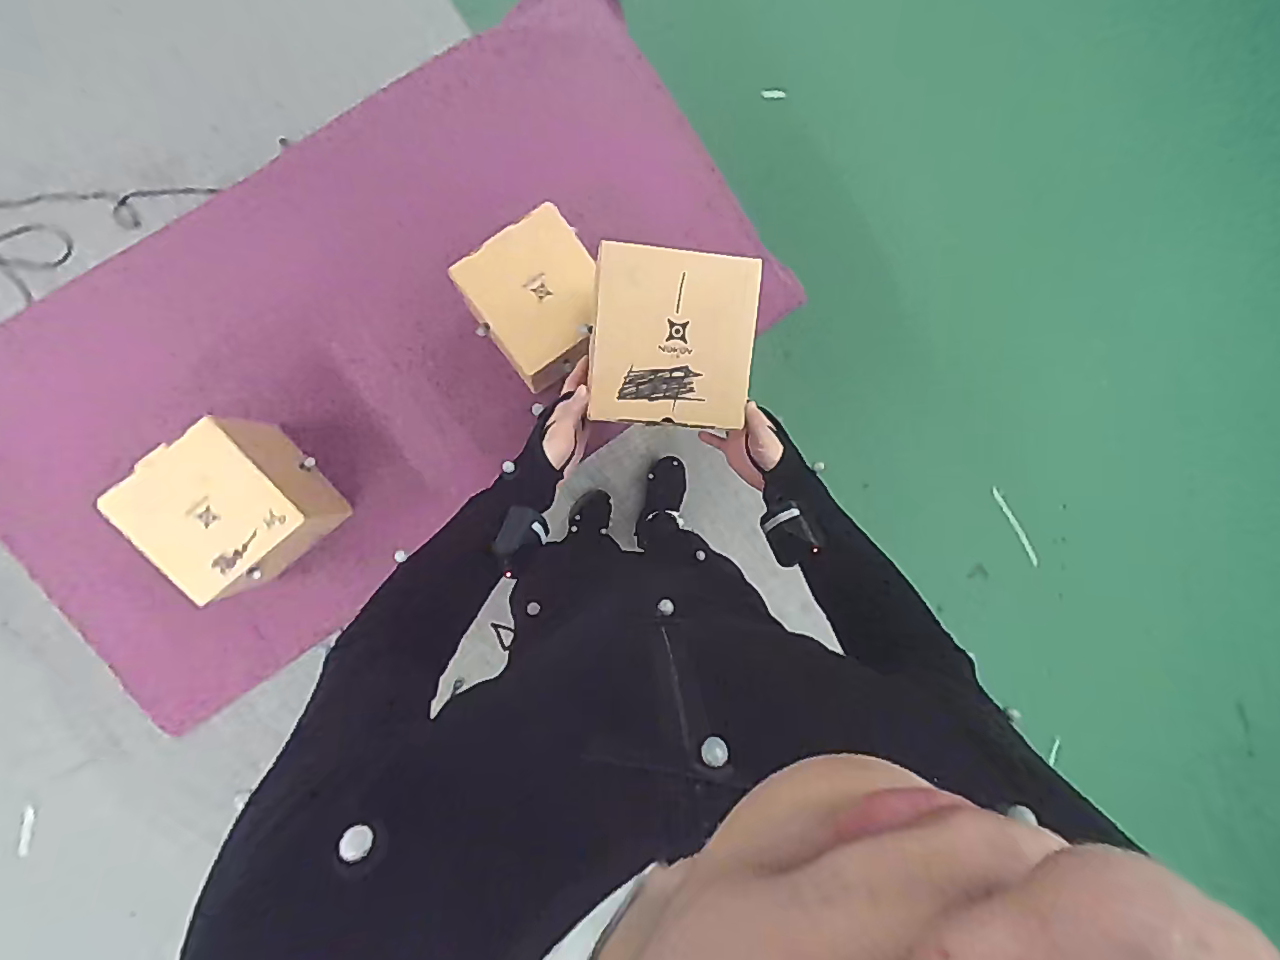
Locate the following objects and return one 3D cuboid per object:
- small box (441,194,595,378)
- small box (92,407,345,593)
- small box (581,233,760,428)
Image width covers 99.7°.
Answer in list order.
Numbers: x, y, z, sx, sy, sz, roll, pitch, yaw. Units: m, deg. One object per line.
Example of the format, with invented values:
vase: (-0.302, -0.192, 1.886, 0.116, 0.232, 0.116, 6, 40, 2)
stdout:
small box: (-0.154, -0.265, 0.793, 0.168, 0.176, 0.179, -37, 95, -5)
small box: (-0.556, 0.024, 0.744, 0.168, 0.176, 0.179, -41, 97, -4)
small box: (0.023, -0.162, 0.625, 0.168, 0.176, 0.179, 5, 100, -8)
